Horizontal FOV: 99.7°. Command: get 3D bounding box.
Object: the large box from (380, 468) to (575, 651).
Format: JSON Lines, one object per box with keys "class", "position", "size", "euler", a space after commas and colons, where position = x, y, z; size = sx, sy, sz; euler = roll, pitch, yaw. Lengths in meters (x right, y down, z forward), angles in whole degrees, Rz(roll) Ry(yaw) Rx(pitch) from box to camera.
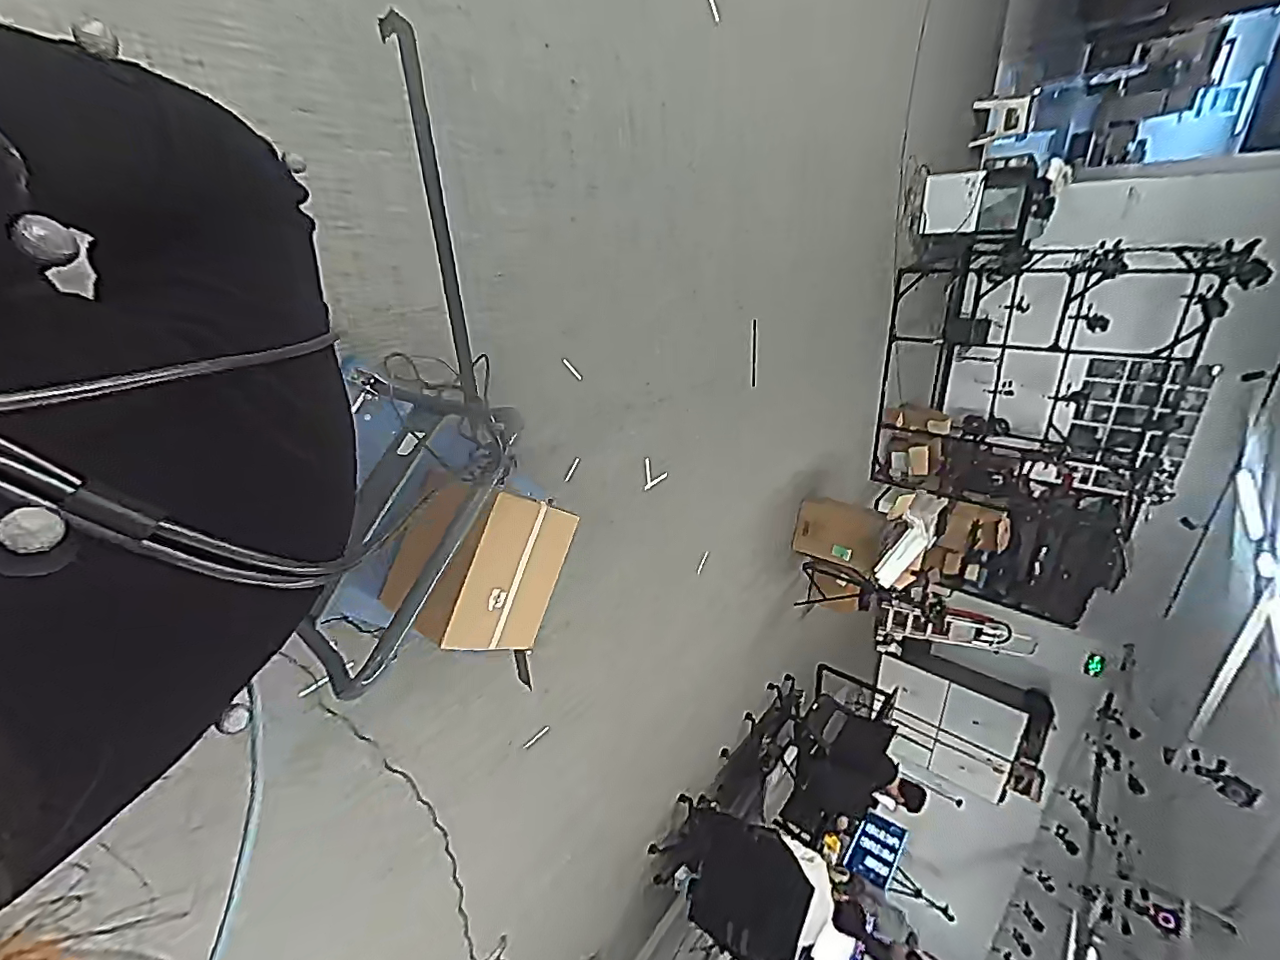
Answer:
{"class": "large box", "position": [-0.444, 0.218, 1.498], "size": [0.320, 0.320, 0.408], "euler": [25, 84, -52]}
